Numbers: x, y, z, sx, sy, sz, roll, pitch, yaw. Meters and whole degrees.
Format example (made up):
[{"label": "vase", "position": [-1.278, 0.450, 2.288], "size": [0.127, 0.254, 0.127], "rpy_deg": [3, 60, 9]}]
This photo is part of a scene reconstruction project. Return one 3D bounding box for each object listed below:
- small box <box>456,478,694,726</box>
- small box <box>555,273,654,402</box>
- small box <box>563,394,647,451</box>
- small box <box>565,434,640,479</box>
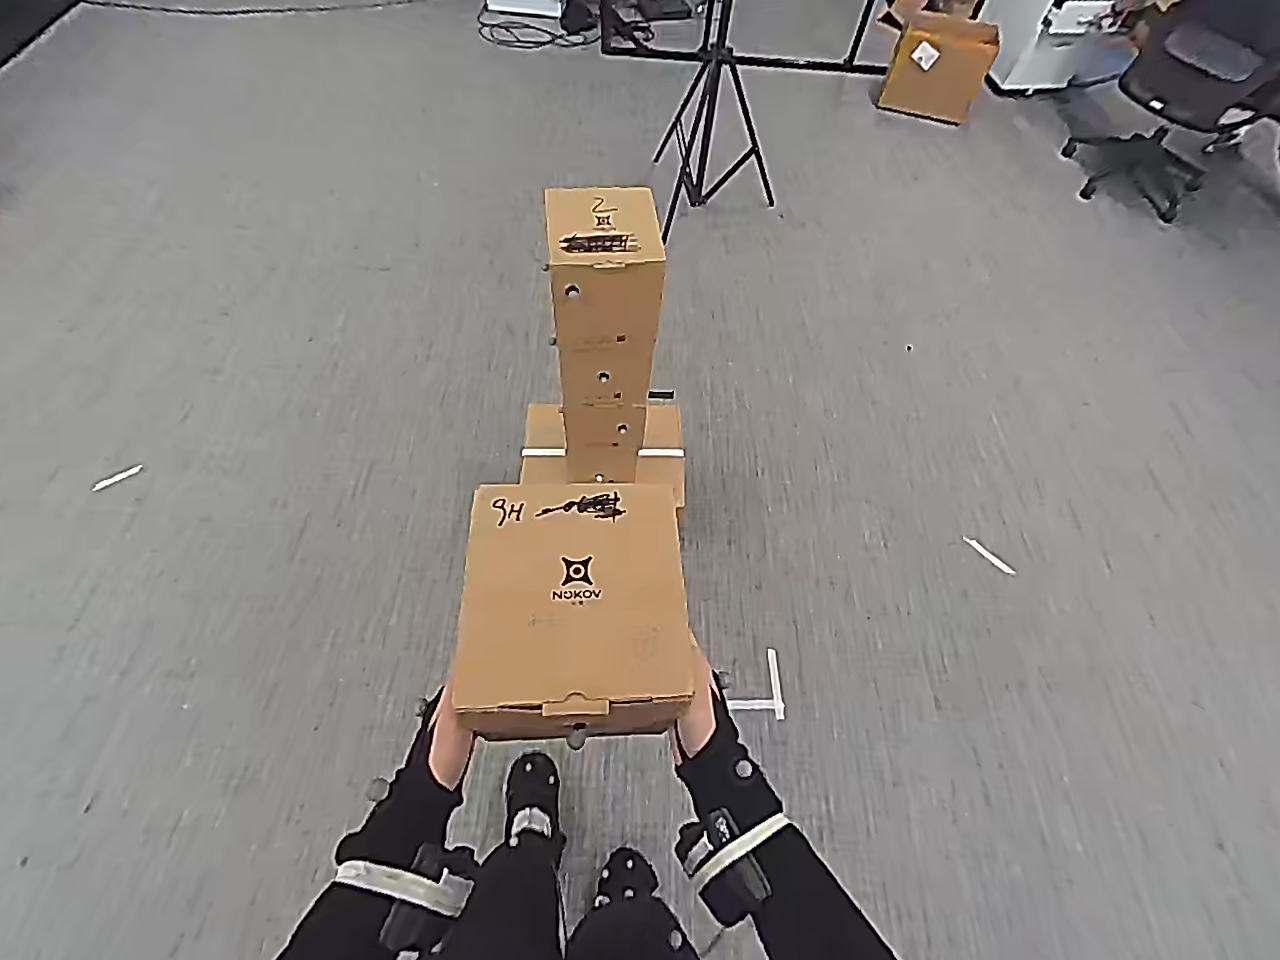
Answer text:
[{"label": "small box", "position": [-0.053, 0.114, 0.475], "size": [0.168, 0.176, 0.179], "rpy_deg": [0, 59, -7]}, {"label": "small box", "position": [-0.069, -0.258, 1.008], "size": [0.168, 0.176, 0.179], "rpy_deg": [-4, 61, -8]}, {"label": "small box", "position": [-0.075, -0.173, 1.150], "size": [0.168, 0.176, 0.179], "rpy_deg": [-1, 60, -5]}, {"label": "small box", "position": [-0.089, -0.097, 1.293], "size": [0.168, 0.176, 0.179], "rpy_deg": [0, 61, -3]}]
